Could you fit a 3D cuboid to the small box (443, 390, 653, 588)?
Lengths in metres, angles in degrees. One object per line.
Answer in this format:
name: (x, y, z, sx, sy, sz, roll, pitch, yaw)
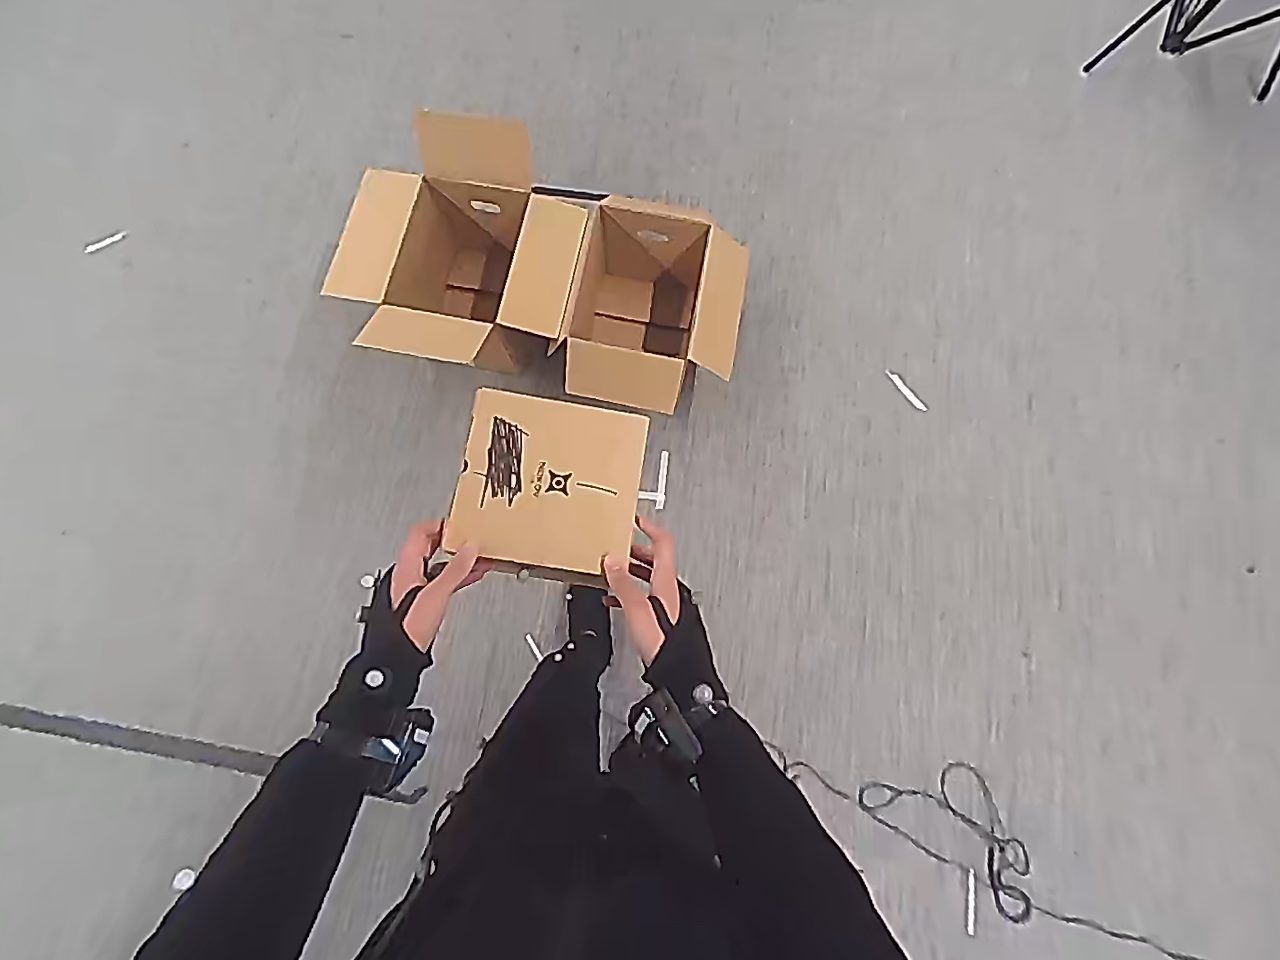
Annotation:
small box: (-0.092, 0.022, 0.597, 0.179, 0.176, 0.168, 10, 74, -4)
